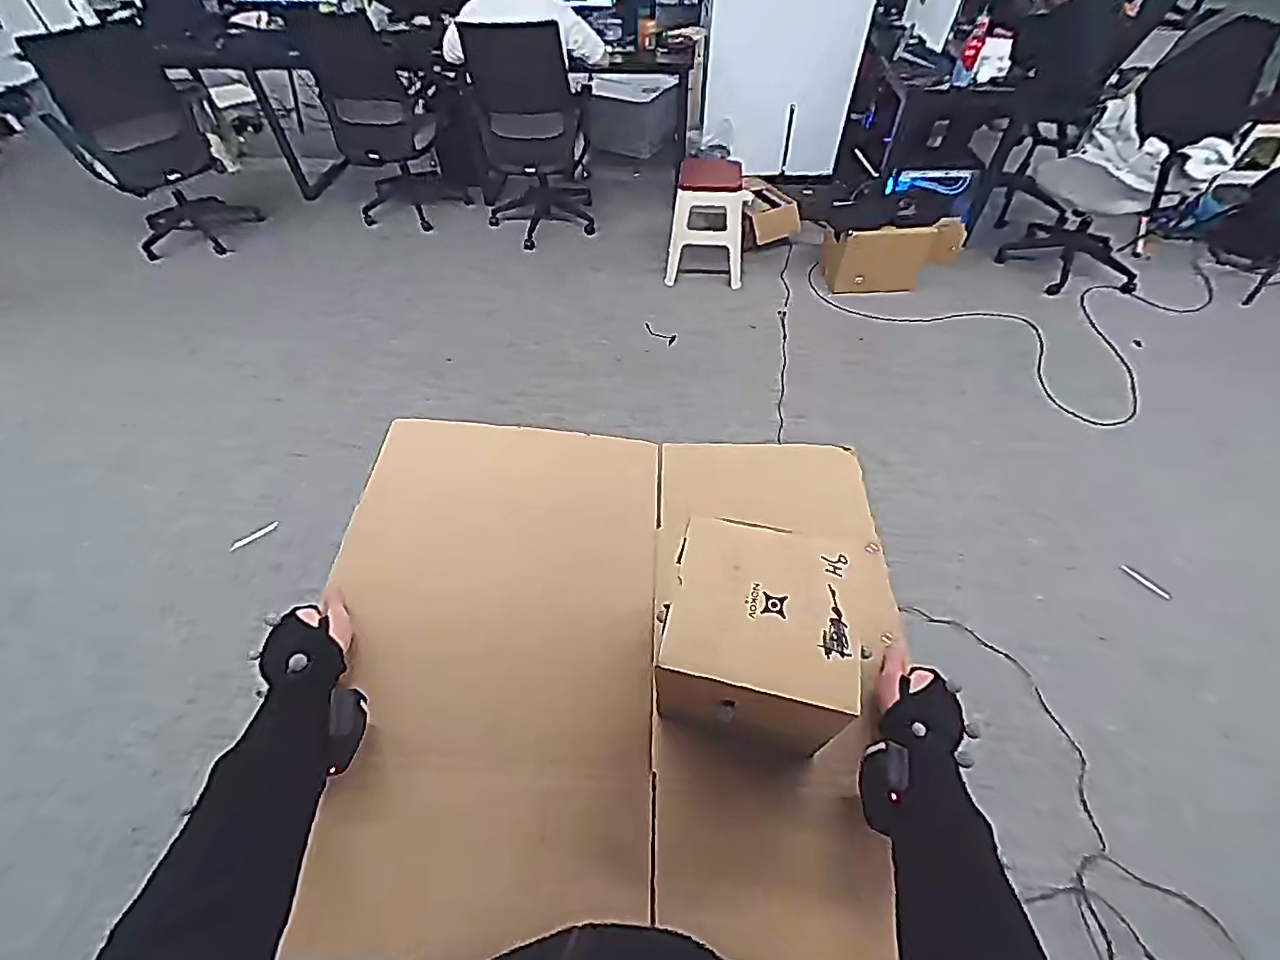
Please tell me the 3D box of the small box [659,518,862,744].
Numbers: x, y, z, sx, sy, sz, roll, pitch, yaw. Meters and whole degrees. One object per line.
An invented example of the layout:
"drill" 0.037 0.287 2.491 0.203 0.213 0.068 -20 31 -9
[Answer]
"small box" 0.125 0.165 0.577 0.179 0.176 0.168 10 55 11
